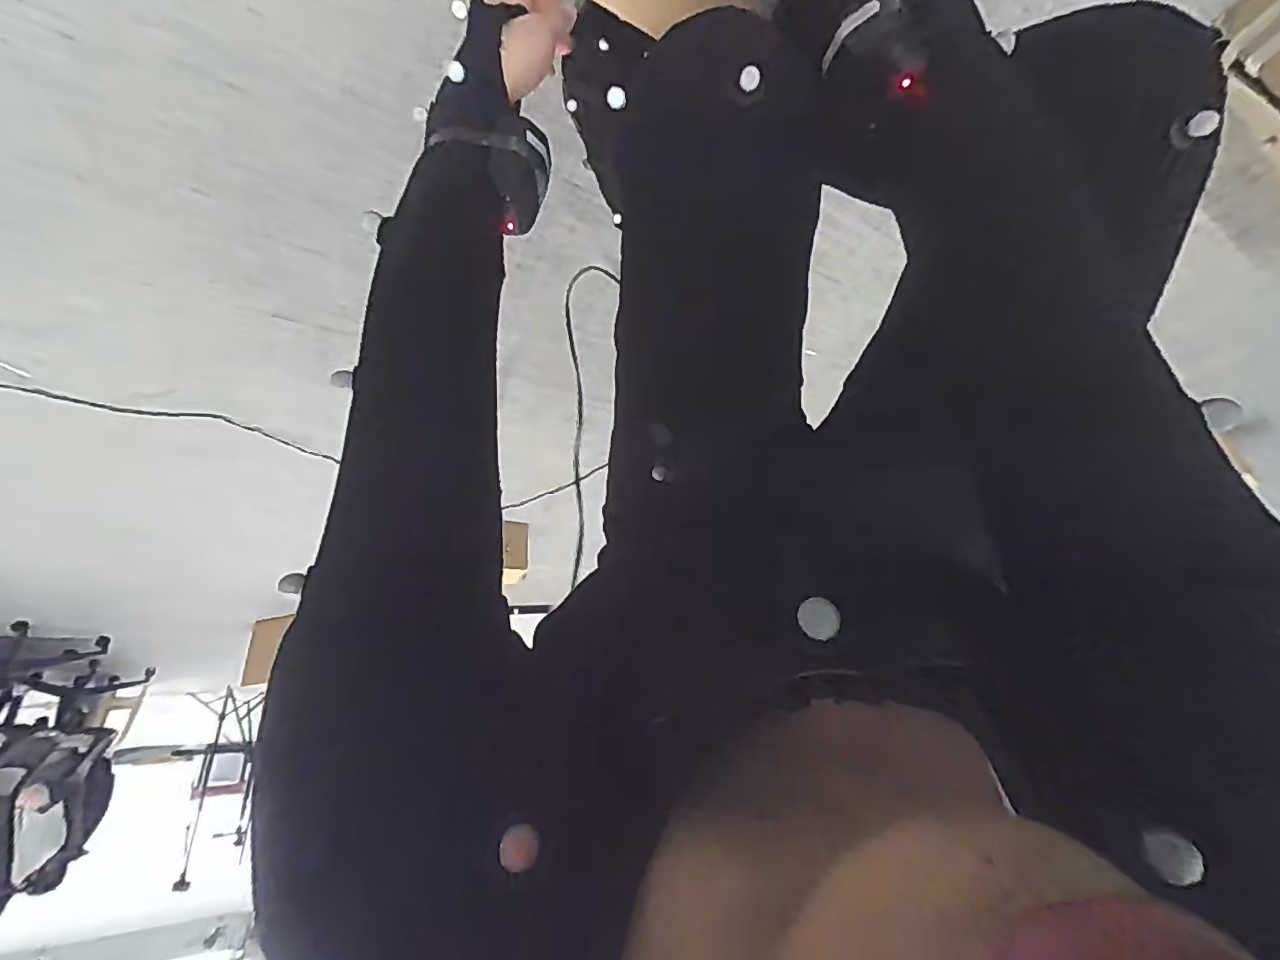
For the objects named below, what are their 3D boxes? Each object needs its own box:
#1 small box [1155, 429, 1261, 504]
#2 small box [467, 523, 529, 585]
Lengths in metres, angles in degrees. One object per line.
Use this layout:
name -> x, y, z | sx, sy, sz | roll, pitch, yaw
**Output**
small box -> 1.793, -0.042, 1.711 | 0.179, 0.176, 0.168 | 14, 147, -33
small box -> -0.491, 0.256, 1.870 | 0.179, 0.176, 0.168 | 8, 149, -26
